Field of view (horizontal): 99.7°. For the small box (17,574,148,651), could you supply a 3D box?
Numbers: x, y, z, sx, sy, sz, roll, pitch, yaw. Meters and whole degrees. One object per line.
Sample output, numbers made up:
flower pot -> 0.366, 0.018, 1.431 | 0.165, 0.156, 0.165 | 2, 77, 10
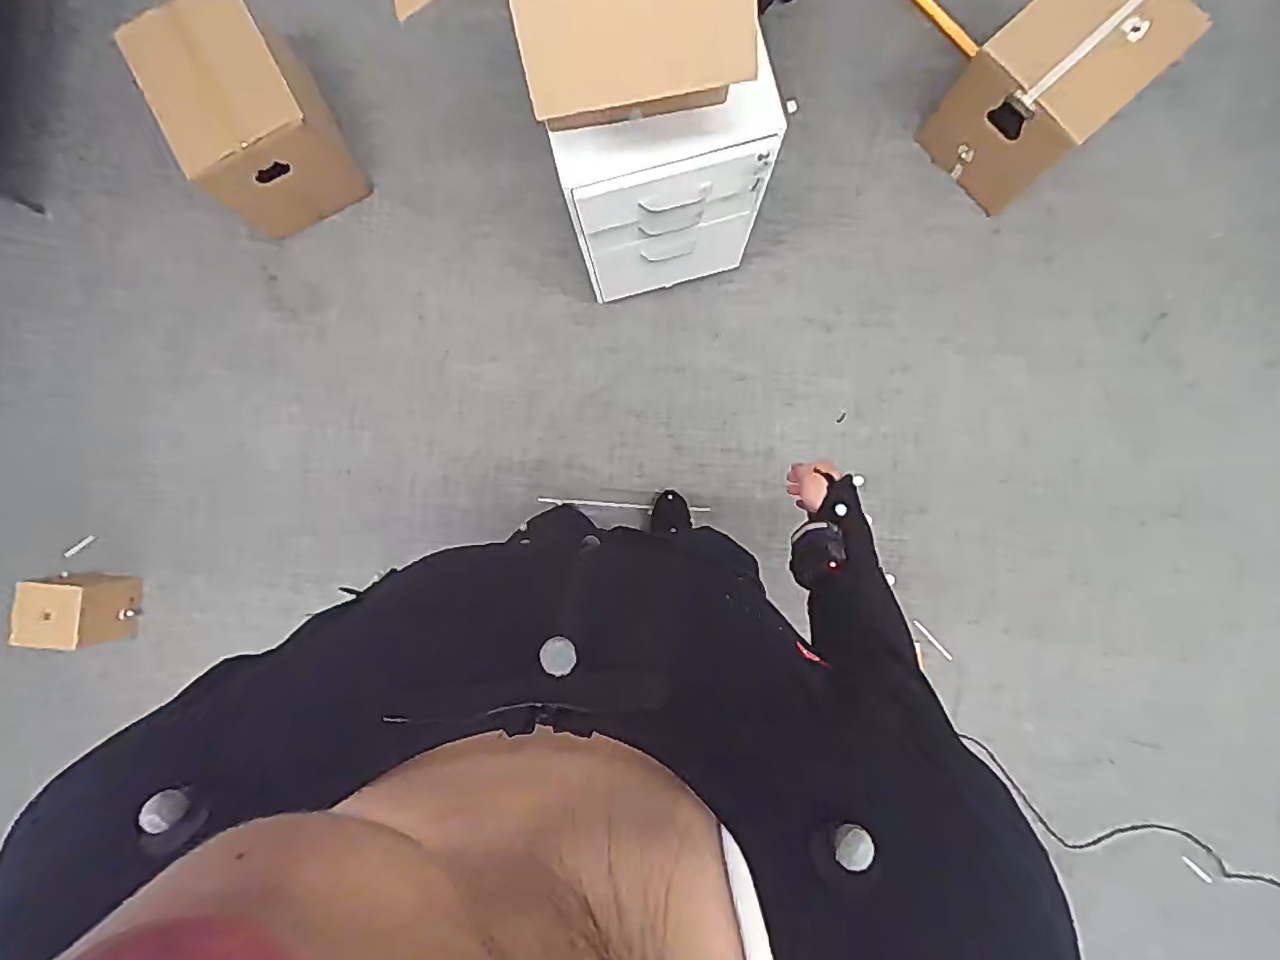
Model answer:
small box -> -1.504, 0.353, 1.466 | 0.179, 0.176, 0.168 | 4, 89, 1
